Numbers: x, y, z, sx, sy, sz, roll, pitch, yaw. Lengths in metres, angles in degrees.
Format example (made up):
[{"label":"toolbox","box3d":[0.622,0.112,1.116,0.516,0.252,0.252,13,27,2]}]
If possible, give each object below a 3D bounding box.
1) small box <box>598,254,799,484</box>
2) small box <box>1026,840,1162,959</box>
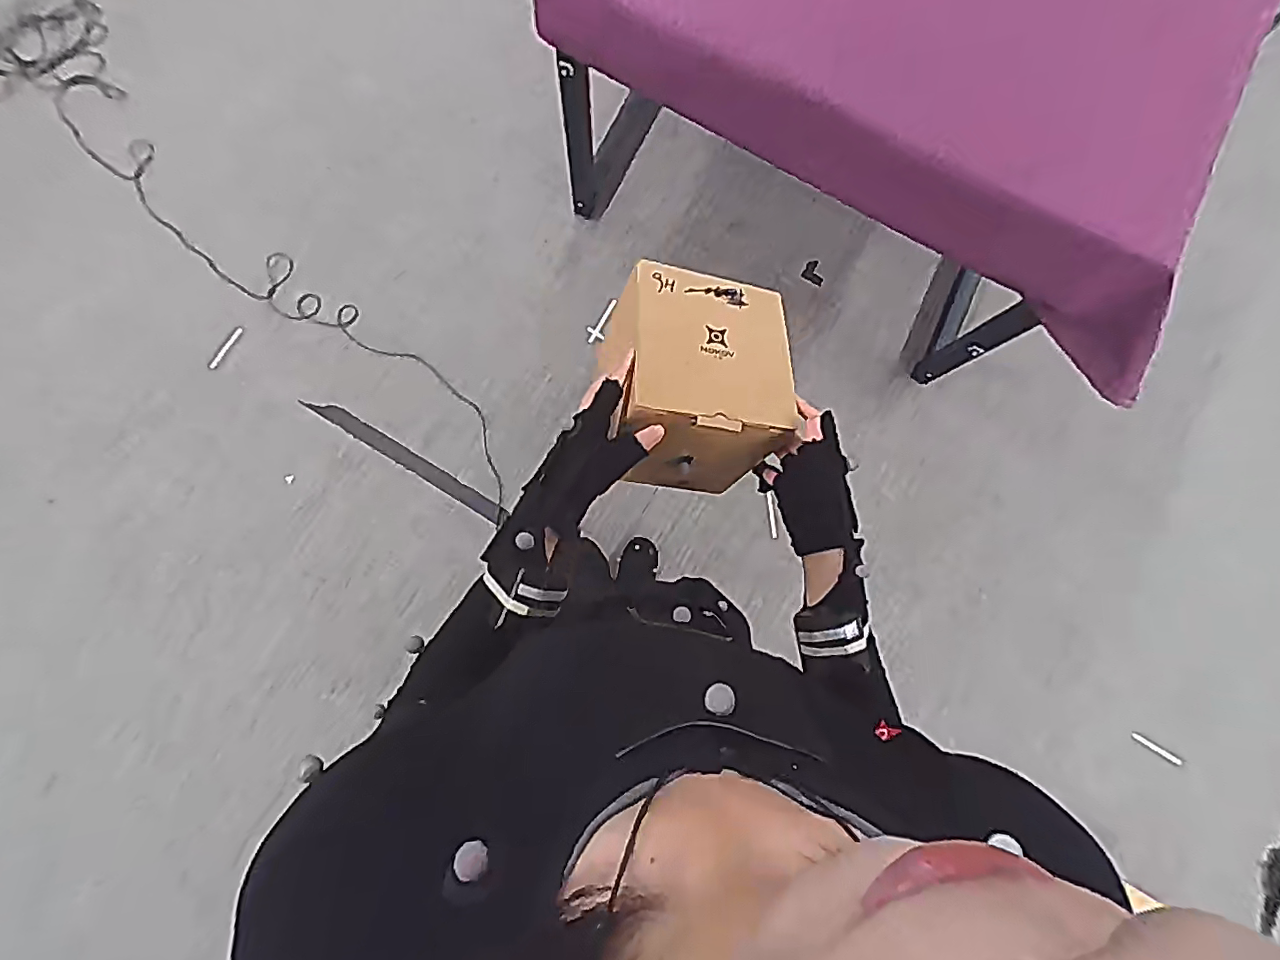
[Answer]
[{"label":"small box","box3d":[0.053,-0.107,0.600,0.168,0.176,0.179,8,66,-17]},{"label":"small box","box3d":[1.161,1.080,1.394,0.179,0.176,0.168,30,81,2]}]
